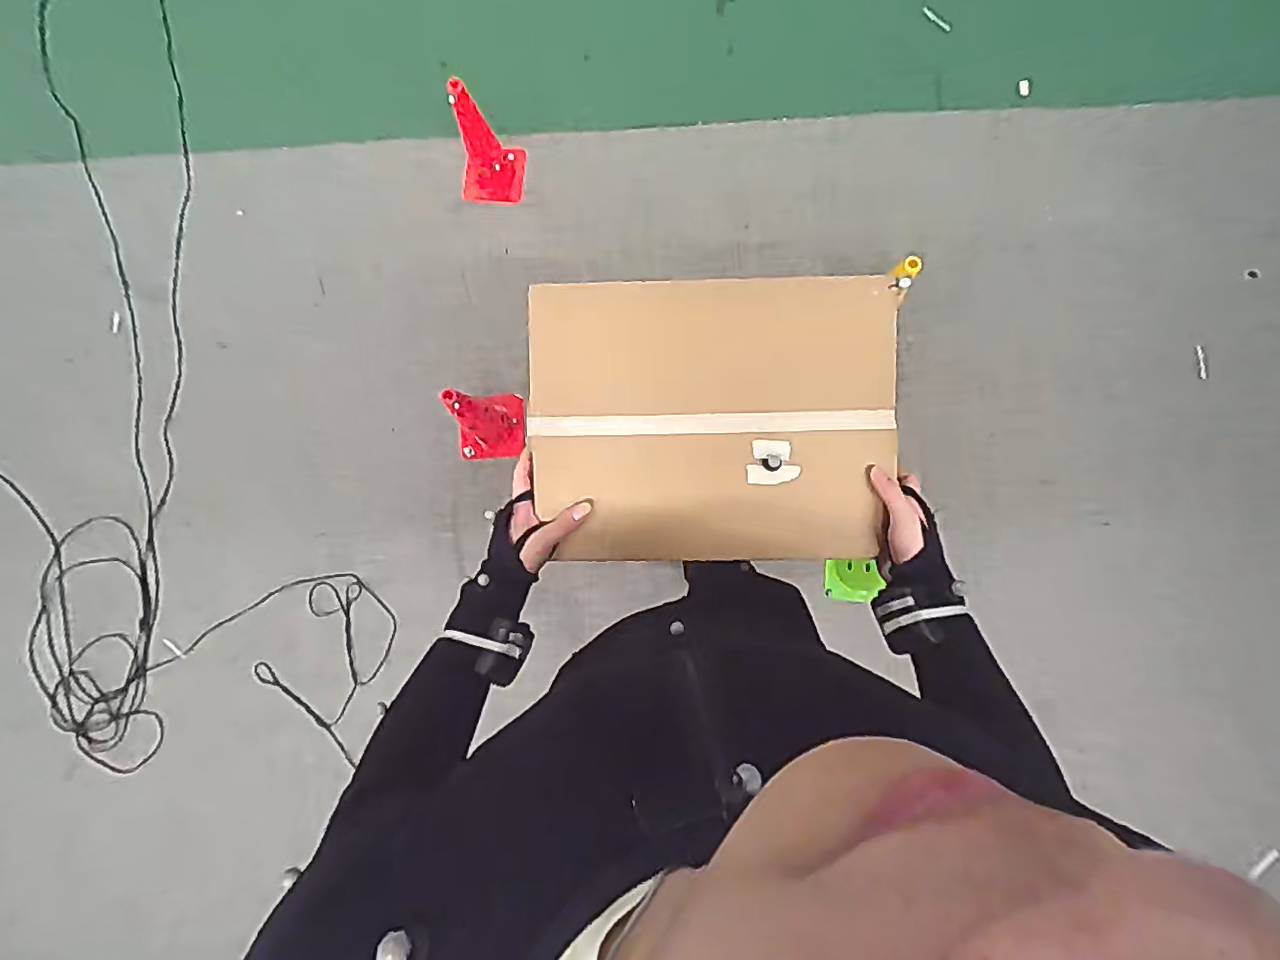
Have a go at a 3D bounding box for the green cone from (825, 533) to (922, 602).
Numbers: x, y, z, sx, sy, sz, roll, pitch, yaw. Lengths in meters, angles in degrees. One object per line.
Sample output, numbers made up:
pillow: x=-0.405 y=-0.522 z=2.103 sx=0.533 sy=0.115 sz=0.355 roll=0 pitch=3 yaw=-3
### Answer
green cone: x=0.642 y=0.225 z=1.421 sx=0.200 sy=0.368 sz=0.202 roll=4 pitch=82 yaw=2

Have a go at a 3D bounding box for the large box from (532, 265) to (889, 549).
large box: x=0.083 y=-0.088 z=0.760 sx=0.408 sy=0.320 sz=0.320 roll=-1 pitch=94 yaw=2

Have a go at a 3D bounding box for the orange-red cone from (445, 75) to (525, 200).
orange-red cone: x=-0.500 y=-1.049 z=1.627 sx=0.199 sy=0.360 sz=0.198 roll=6 pitch=82 yaw=4
